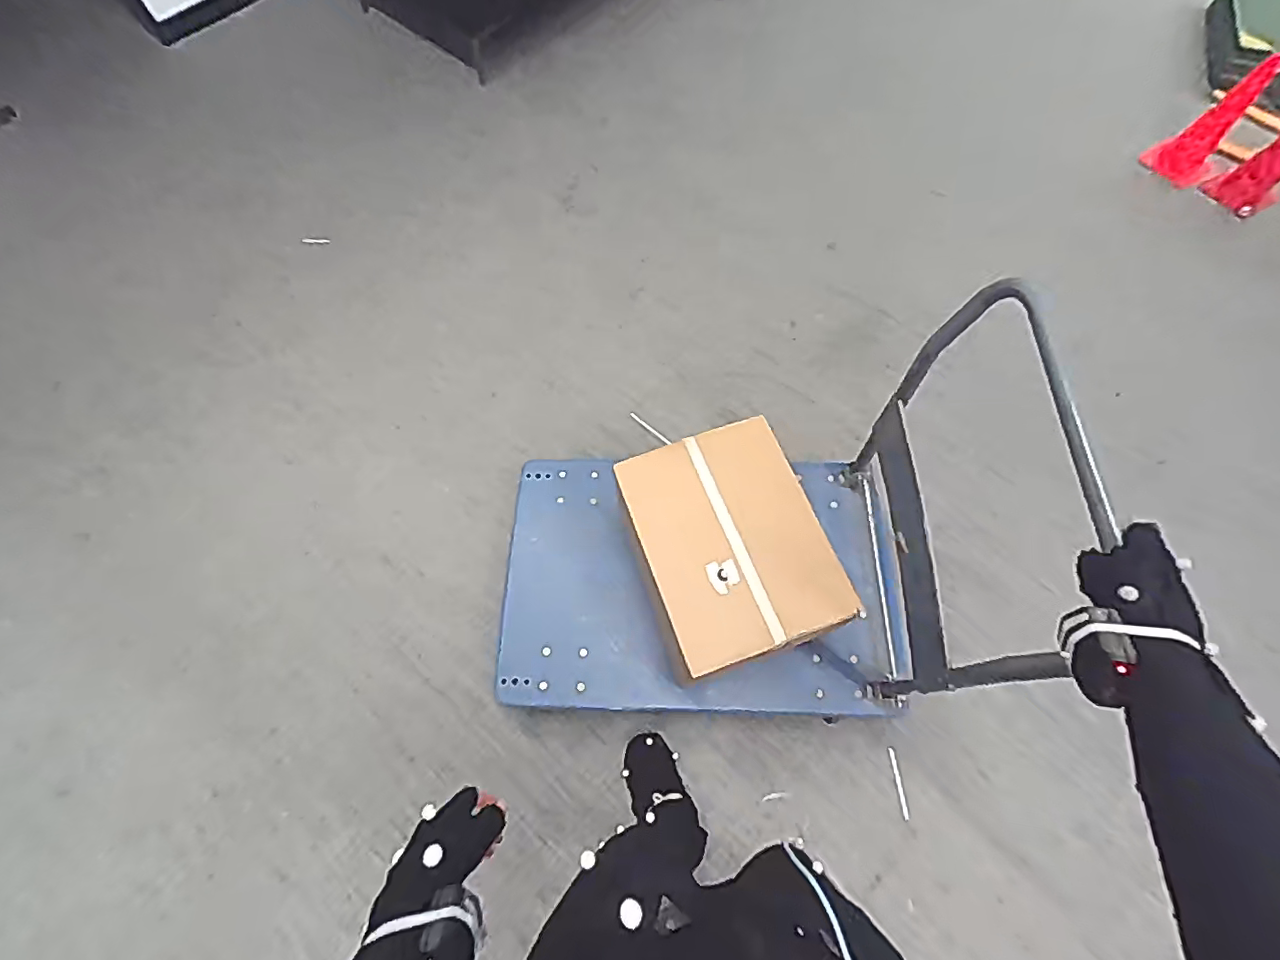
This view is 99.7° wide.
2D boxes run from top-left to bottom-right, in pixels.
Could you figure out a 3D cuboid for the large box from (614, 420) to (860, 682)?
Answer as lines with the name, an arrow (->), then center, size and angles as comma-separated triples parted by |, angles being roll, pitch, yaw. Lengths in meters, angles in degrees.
large box -> 0.162, 0.155, 1.105 | 0.320, 0.320, 0.408 | -20, 68, -7
